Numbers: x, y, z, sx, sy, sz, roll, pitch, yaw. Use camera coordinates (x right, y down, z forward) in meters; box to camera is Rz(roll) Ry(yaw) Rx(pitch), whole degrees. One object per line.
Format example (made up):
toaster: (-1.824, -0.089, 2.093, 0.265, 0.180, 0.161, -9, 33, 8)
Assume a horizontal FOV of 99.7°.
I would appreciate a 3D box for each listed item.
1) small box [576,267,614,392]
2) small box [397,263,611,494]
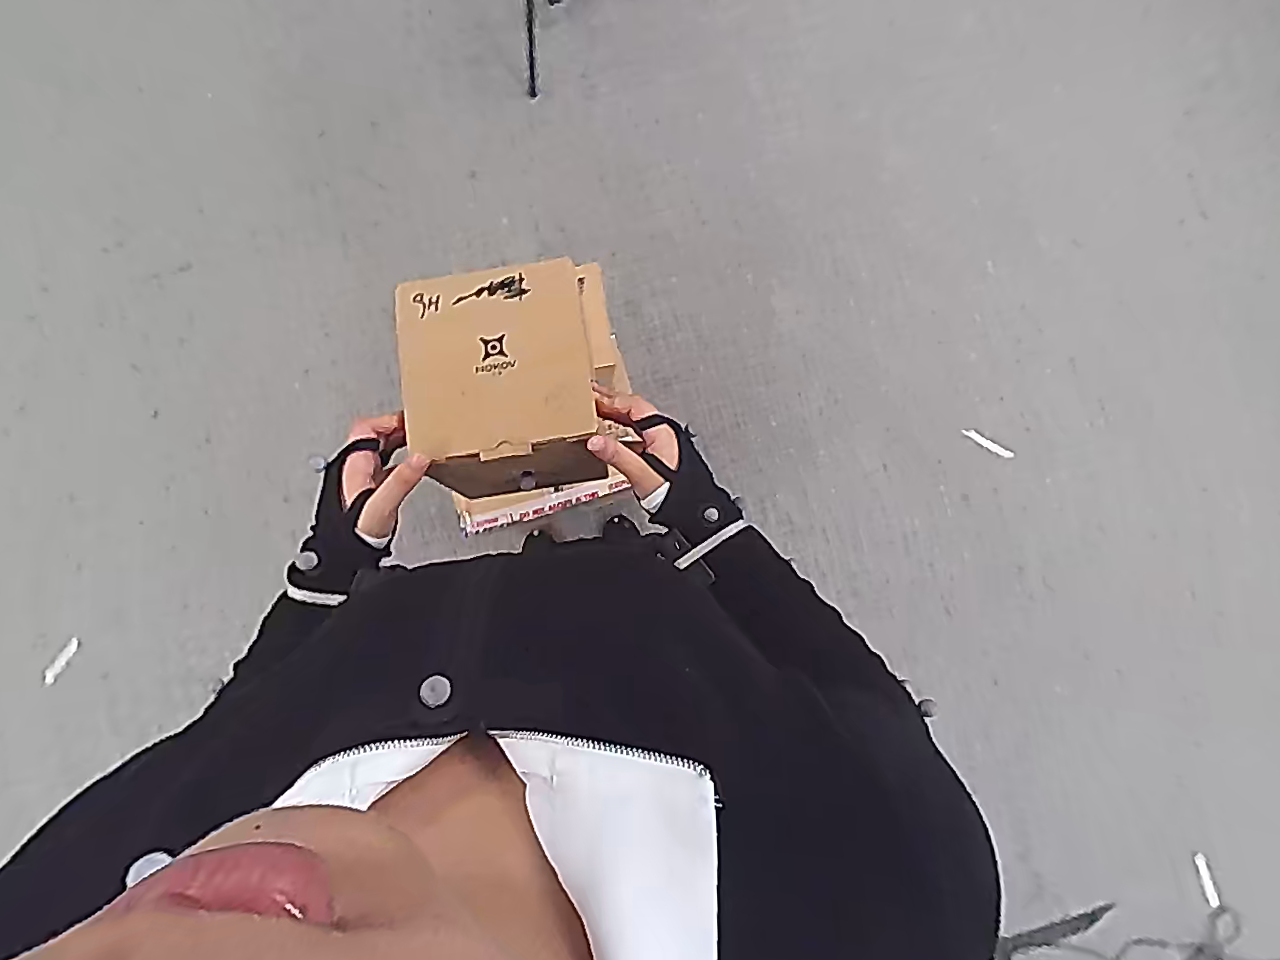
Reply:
small box: (-0.143, -0.249, 0.956, 0.168, 0.176, 0.179, -9, 88, -5)
small box: (-0.124, -0.086, 0.551, 0.168, 0.176, 0.179, -10, 79, -2)
